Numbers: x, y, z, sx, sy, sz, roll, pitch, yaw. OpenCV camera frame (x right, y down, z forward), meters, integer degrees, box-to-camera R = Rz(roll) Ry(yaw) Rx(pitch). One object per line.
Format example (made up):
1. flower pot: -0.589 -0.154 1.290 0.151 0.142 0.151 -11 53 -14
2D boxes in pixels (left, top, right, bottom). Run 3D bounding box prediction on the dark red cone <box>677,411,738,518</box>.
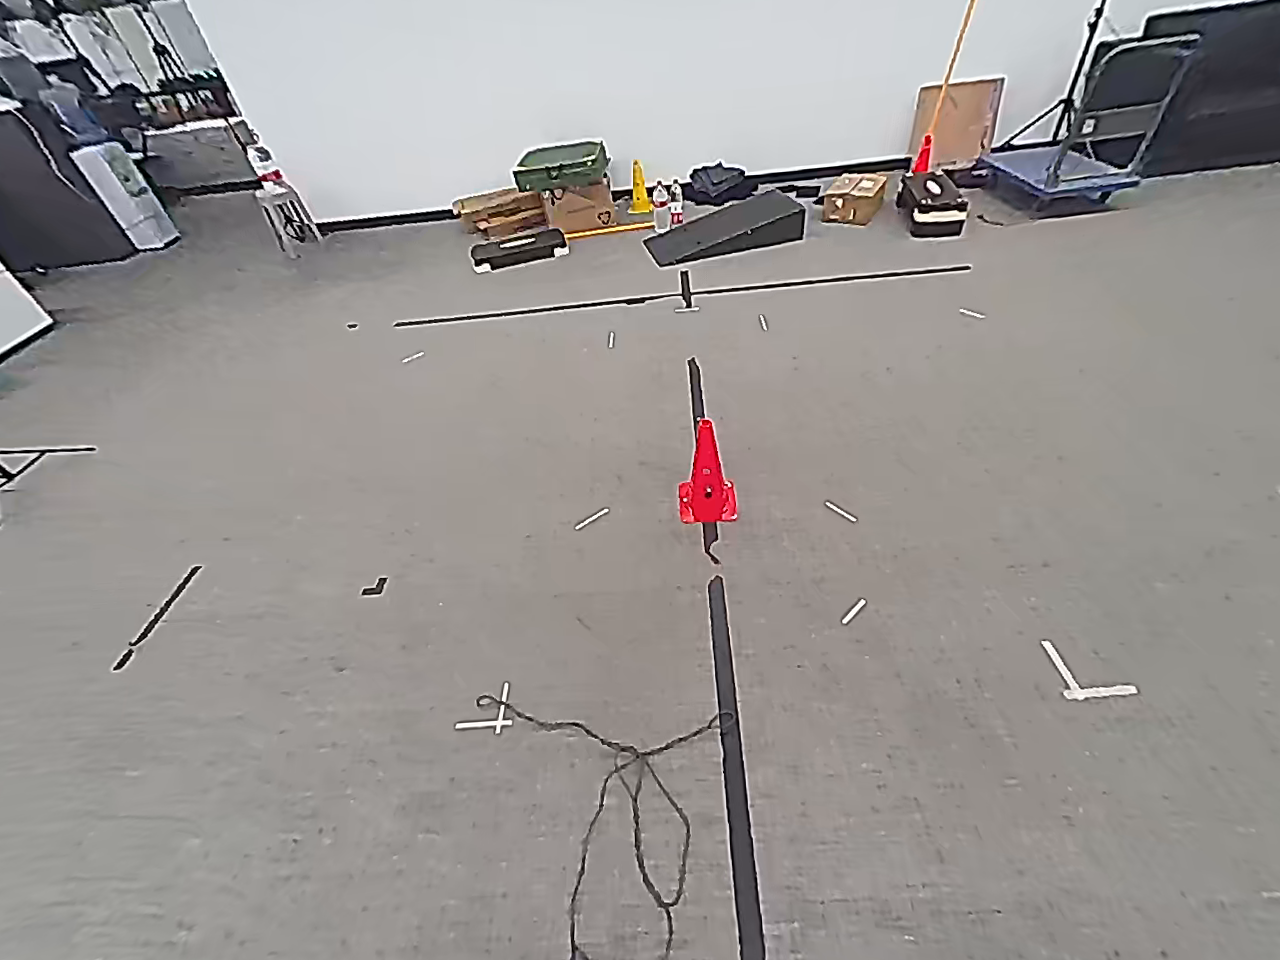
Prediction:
1. dark red cone: 0.216 -0.064 1.795 0.201 0.394 0.202 -5 43 5
